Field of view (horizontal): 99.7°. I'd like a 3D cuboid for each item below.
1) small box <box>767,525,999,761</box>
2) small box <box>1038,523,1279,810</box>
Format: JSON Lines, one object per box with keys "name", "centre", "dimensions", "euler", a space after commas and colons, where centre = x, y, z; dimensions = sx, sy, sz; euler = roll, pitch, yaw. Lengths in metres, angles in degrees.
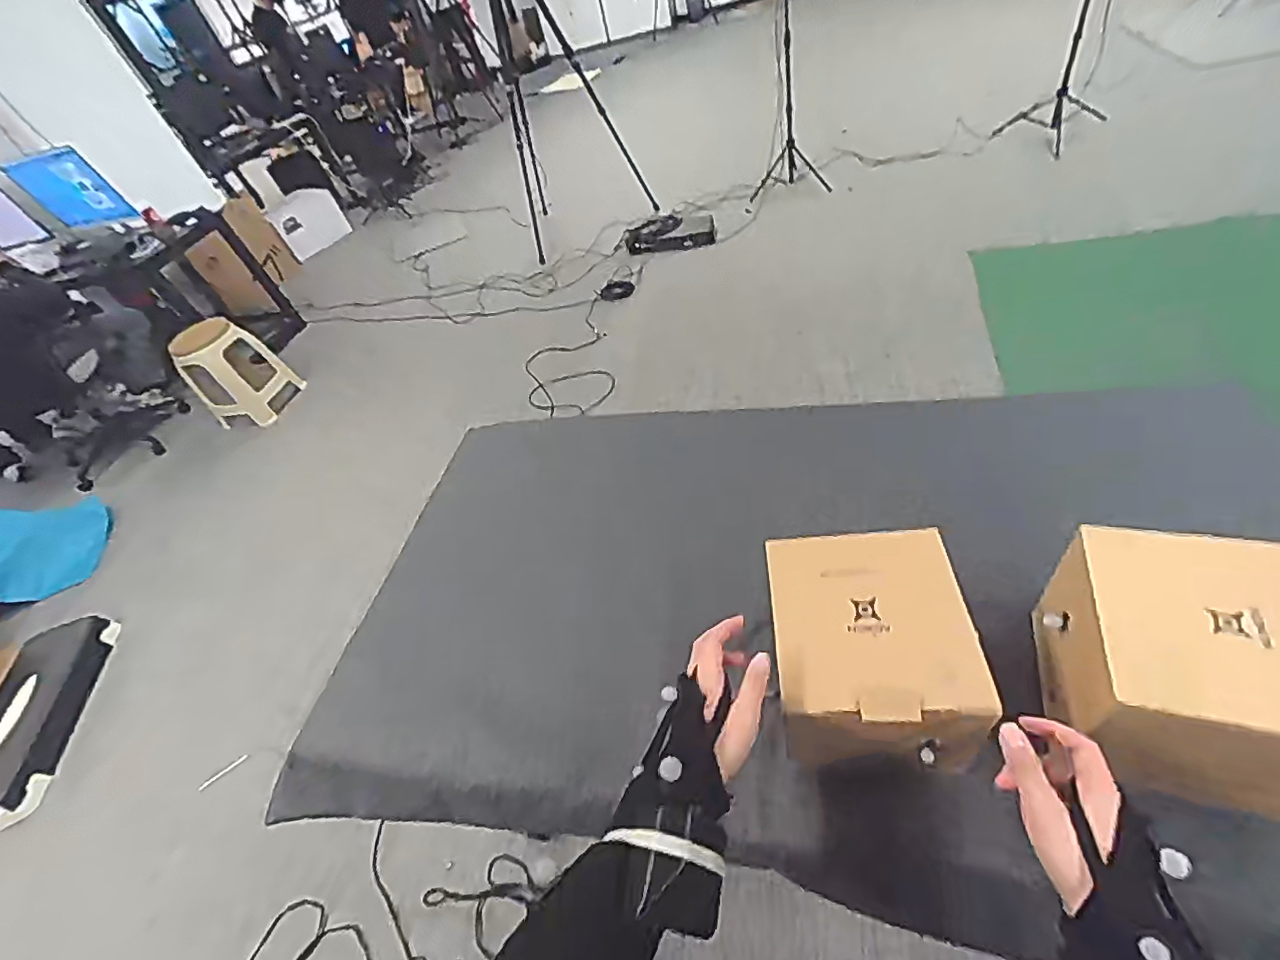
{"name": "small box", "centre": [0.222, 0.168, 0.542], "dimensions": [0.168, 0.176, 0.179], "euler": [-5, 47, 12]}
{"name": "small box", "centre": [0.472, 0.159, 0.469], "dimensions": [0.179, 0.176, 0.168], "euler": [6, 51, 22]}
